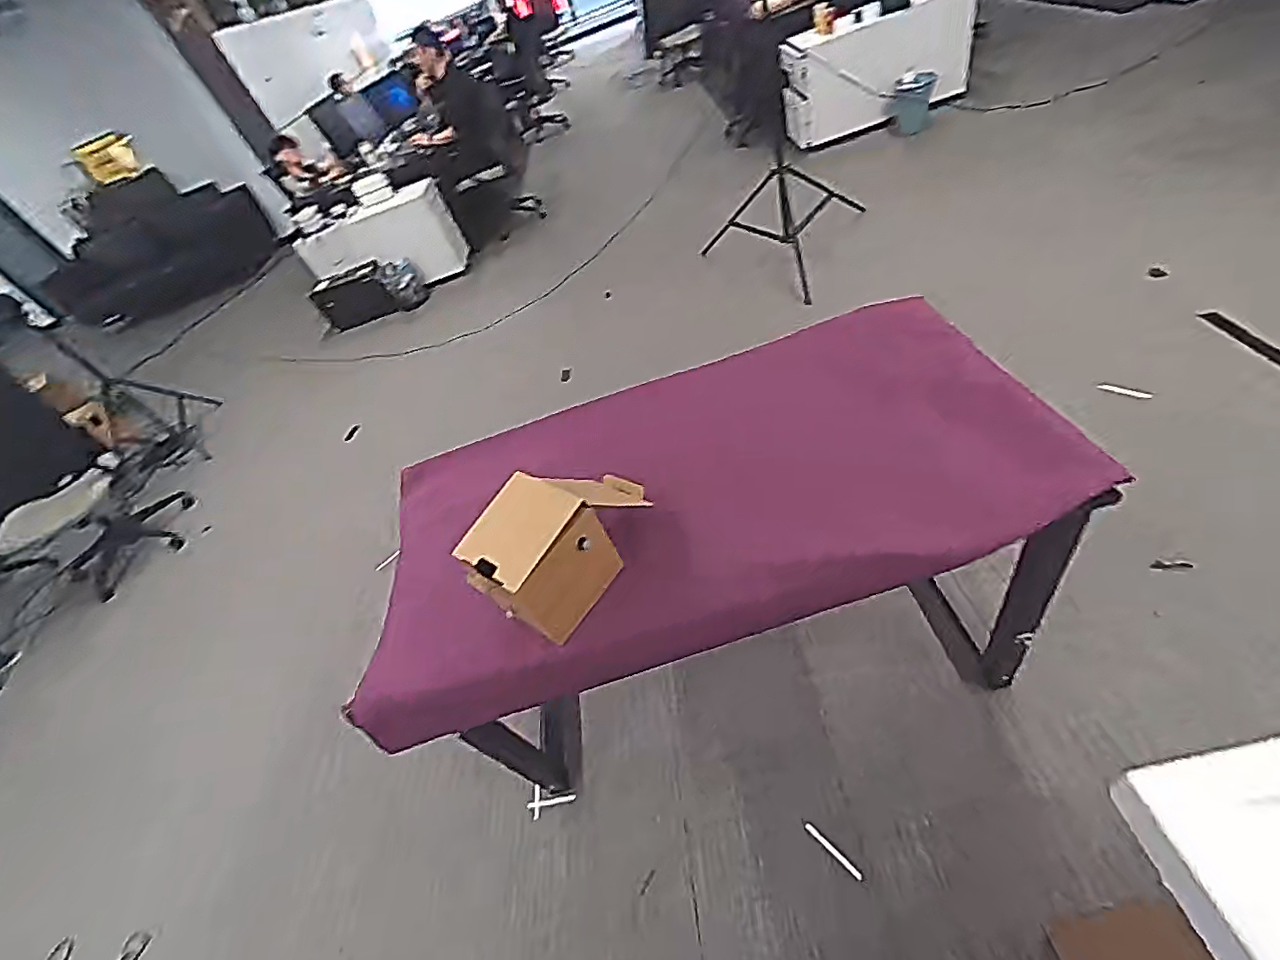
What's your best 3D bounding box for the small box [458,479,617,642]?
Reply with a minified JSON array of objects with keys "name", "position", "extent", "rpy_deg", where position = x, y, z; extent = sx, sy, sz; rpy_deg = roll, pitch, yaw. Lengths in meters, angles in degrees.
[{"name":"small box","position":[-0.159,0.133,0.905],"extent":[0.168,0.176,0.179],"rpy_deg":[19,58,37]}]
